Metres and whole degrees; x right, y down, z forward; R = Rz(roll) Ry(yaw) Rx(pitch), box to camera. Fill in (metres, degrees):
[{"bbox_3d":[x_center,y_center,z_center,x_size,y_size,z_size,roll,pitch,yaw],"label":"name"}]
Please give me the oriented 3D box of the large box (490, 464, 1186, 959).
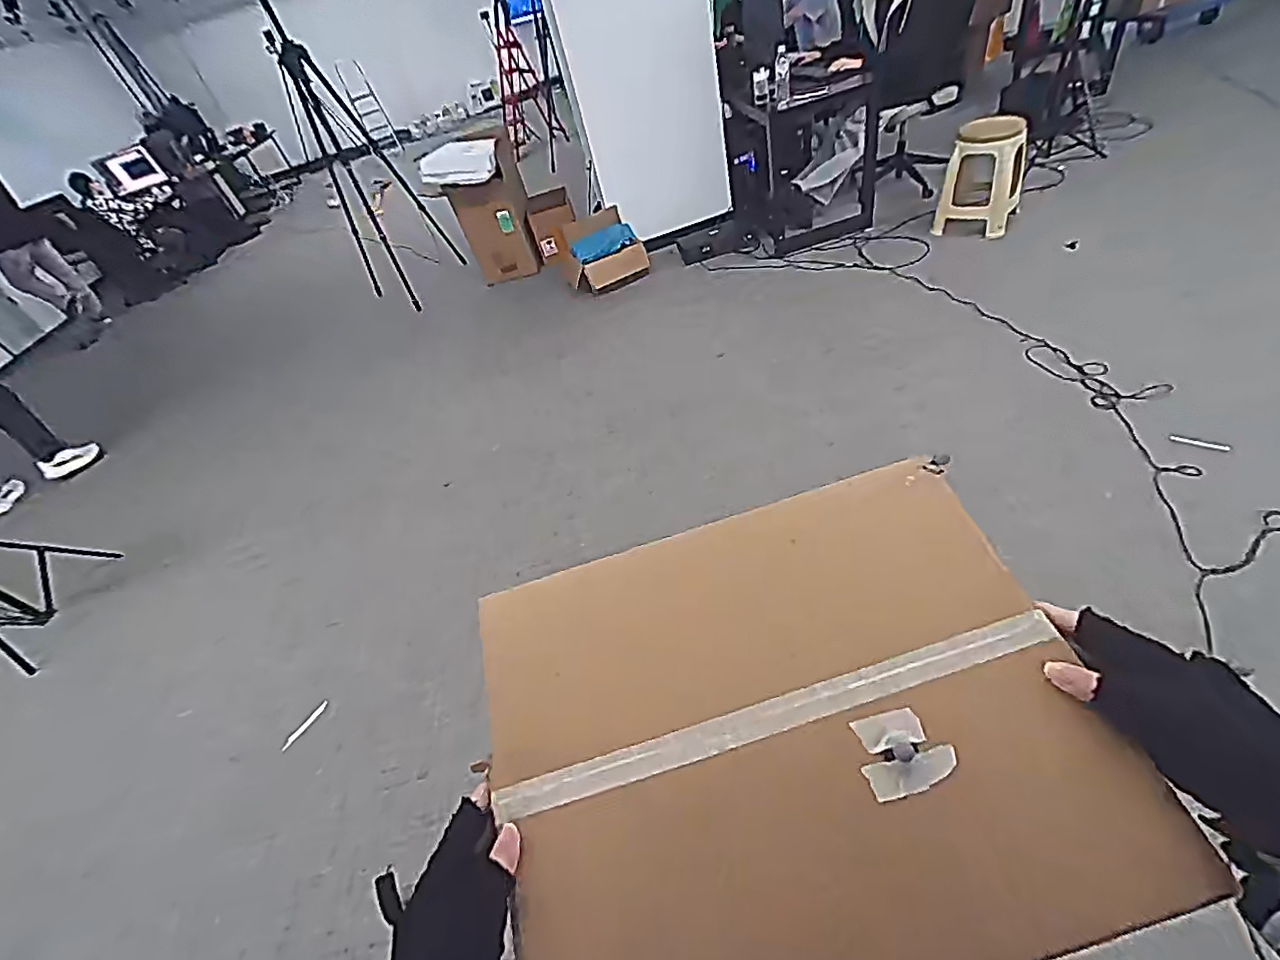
[{"bbox_3d":[0.118,0.246,0.518,0.408,0.320,0.320,-18,57,-2],"label":"large box"}]
